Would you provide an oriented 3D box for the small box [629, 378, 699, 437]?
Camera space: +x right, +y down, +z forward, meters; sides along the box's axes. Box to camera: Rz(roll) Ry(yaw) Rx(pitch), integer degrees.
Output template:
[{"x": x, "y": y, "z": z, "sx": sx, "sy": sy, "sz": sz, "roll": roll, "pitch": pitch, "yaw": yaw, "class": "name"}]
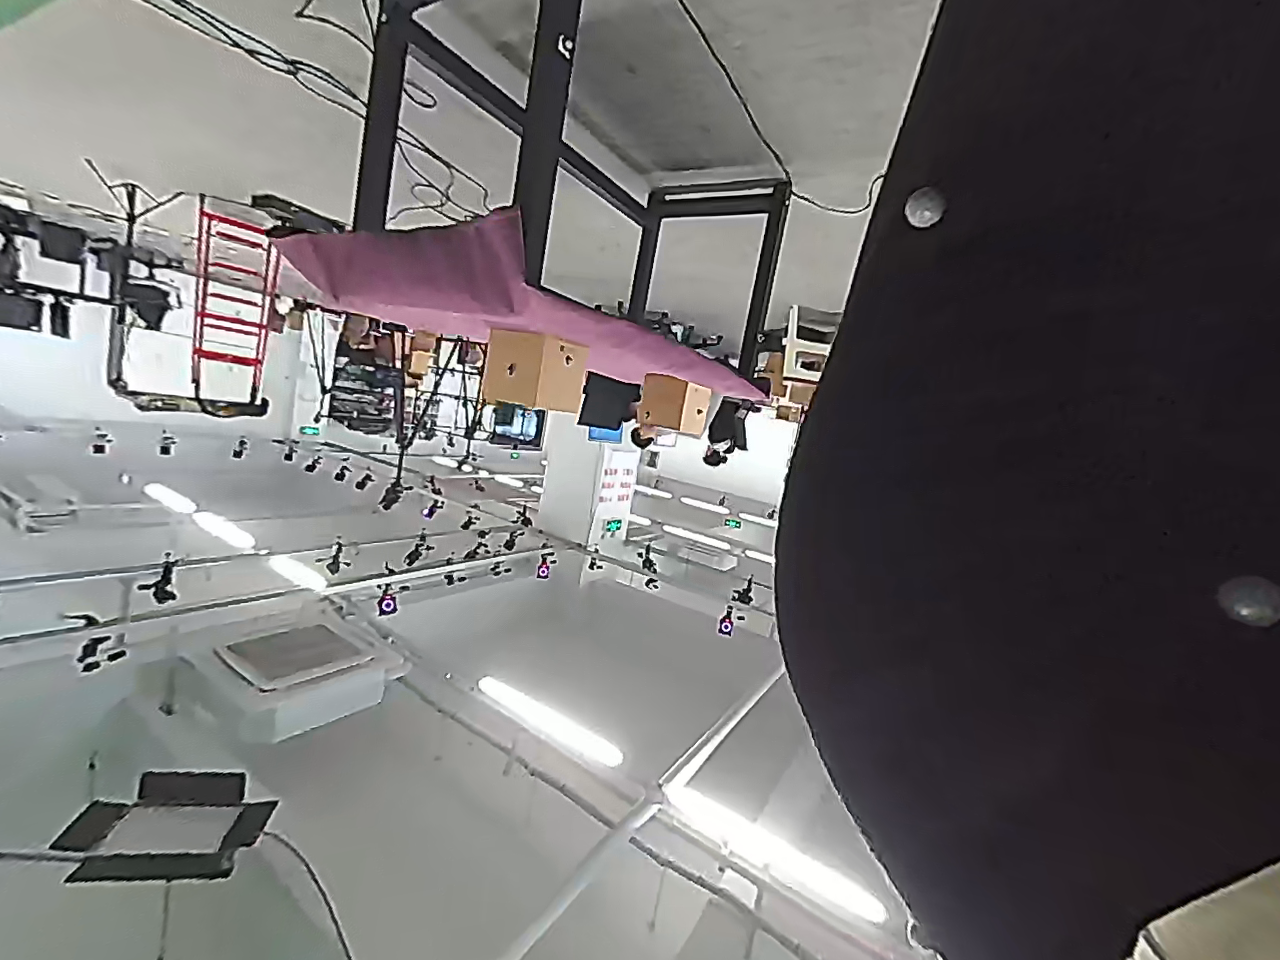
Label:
[{"x": 0.088, "y": -0.247, "z": 1.827, "sx": 0.179, "sy": 0.176, "sz": 0.168, "roll": 15, "pitch": -172, "yaw": 31, "class": "small box"}]
